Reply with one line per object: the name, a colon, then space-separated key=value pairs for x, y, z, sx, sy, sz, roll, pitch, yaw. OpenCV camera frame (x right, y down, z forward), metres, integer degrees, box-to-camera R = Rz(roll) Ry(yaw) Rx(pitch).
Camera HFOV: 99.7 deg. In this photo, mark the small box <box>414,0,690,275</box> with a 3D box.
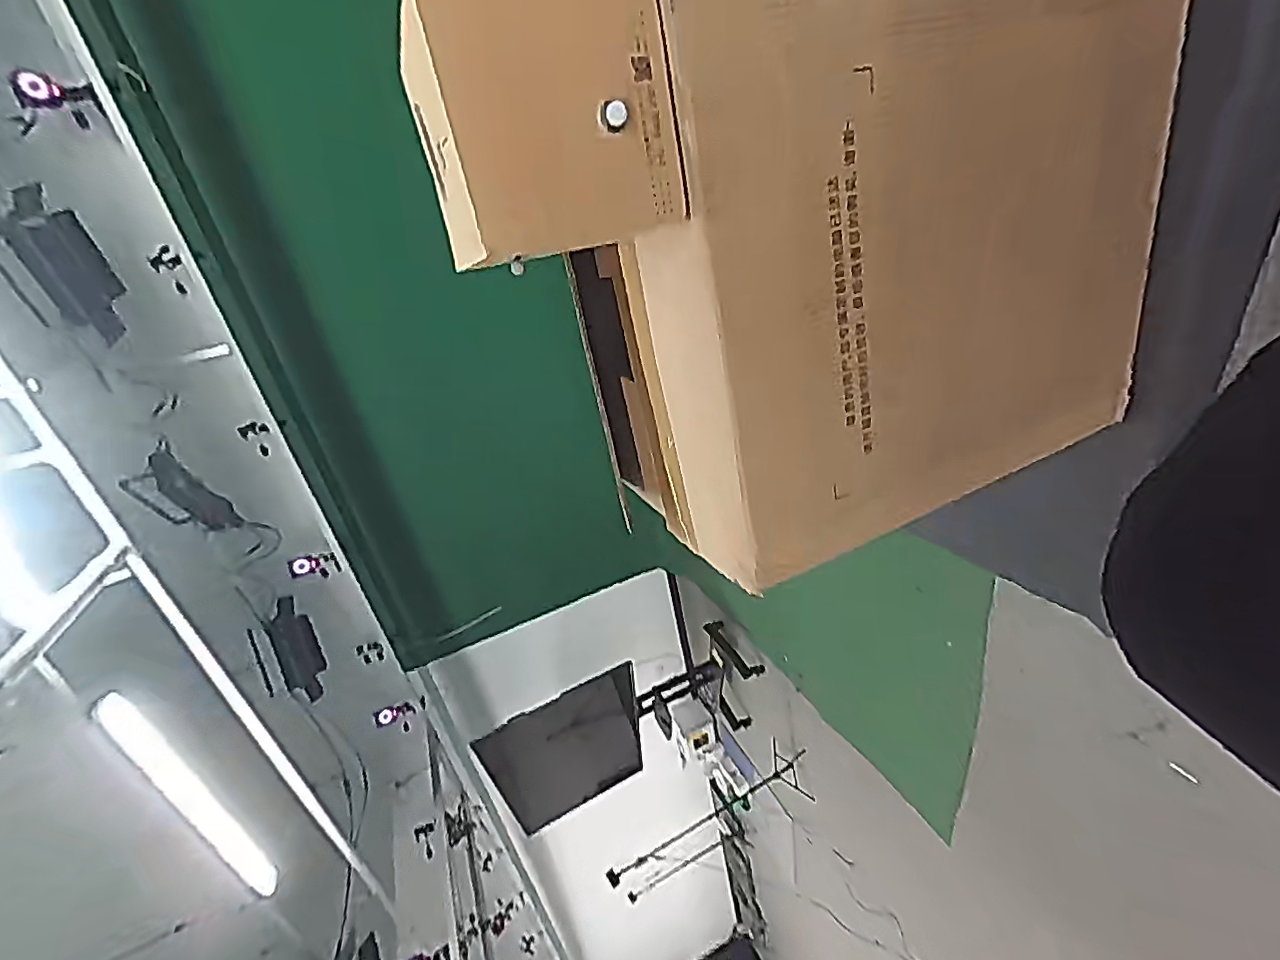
small box: x=-0.076 y=-0.276 z=0.458 sx=0.179 sy=0.176 sz=0.168 roll=34 pitch=140 yaw=60
